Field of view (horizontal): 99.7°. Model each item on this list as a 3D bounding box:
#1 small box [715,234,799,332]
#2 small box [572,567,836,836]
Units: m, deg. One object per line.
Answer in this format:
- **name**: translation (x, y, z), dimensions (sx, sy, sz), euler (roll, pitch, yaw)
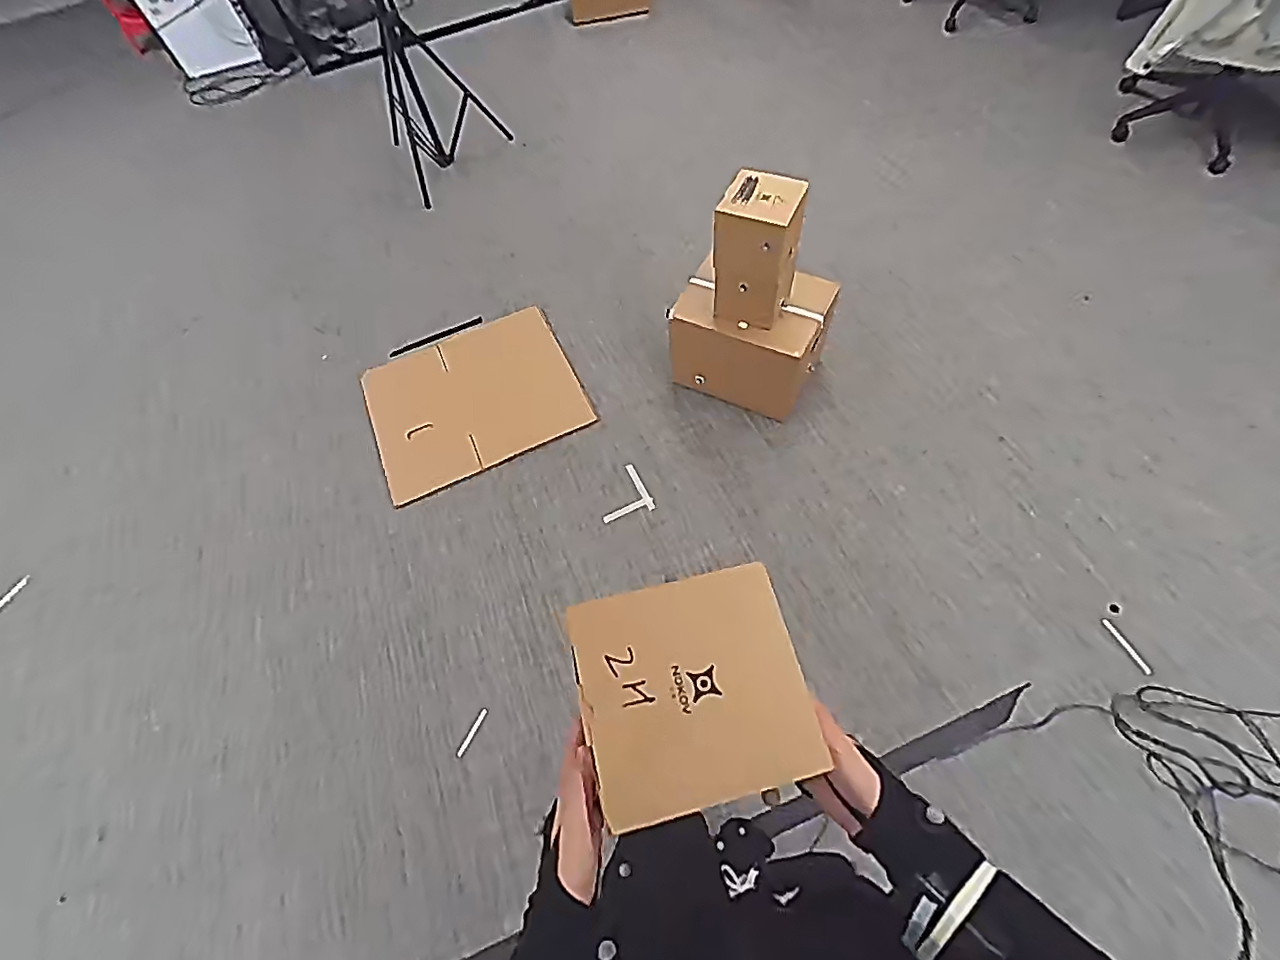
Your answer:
- **small box**: translation (0.314, -0.533, 1.480), dimensions (0.179, 0.176, 0.168), euler (22, 67, 16)
- **small box**: translation (0.042, 0.194, 0.492), dimensions (0.179, 0.176, 0.168), euler (-12, 66, -7)
